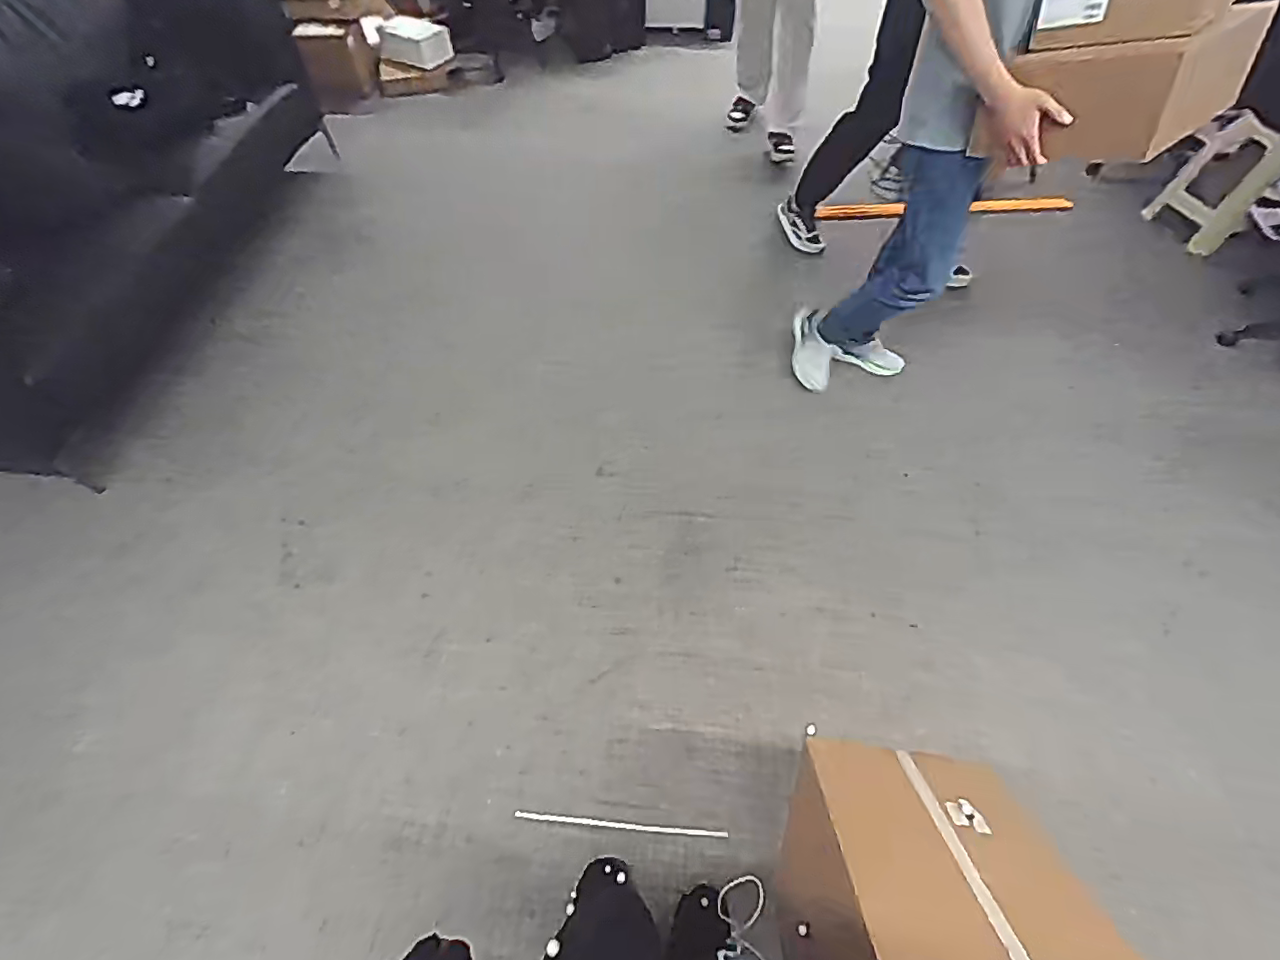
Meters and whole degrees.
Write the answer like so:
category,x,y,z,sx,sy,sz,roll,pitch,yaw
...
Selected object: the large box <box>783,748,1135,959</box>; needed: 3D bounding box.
category,x,y,z,sx,sy,sz,roll,pitch,yaw
large box,0.402,0.654,0.736,0.320,0.408,0.320,10,101,4
